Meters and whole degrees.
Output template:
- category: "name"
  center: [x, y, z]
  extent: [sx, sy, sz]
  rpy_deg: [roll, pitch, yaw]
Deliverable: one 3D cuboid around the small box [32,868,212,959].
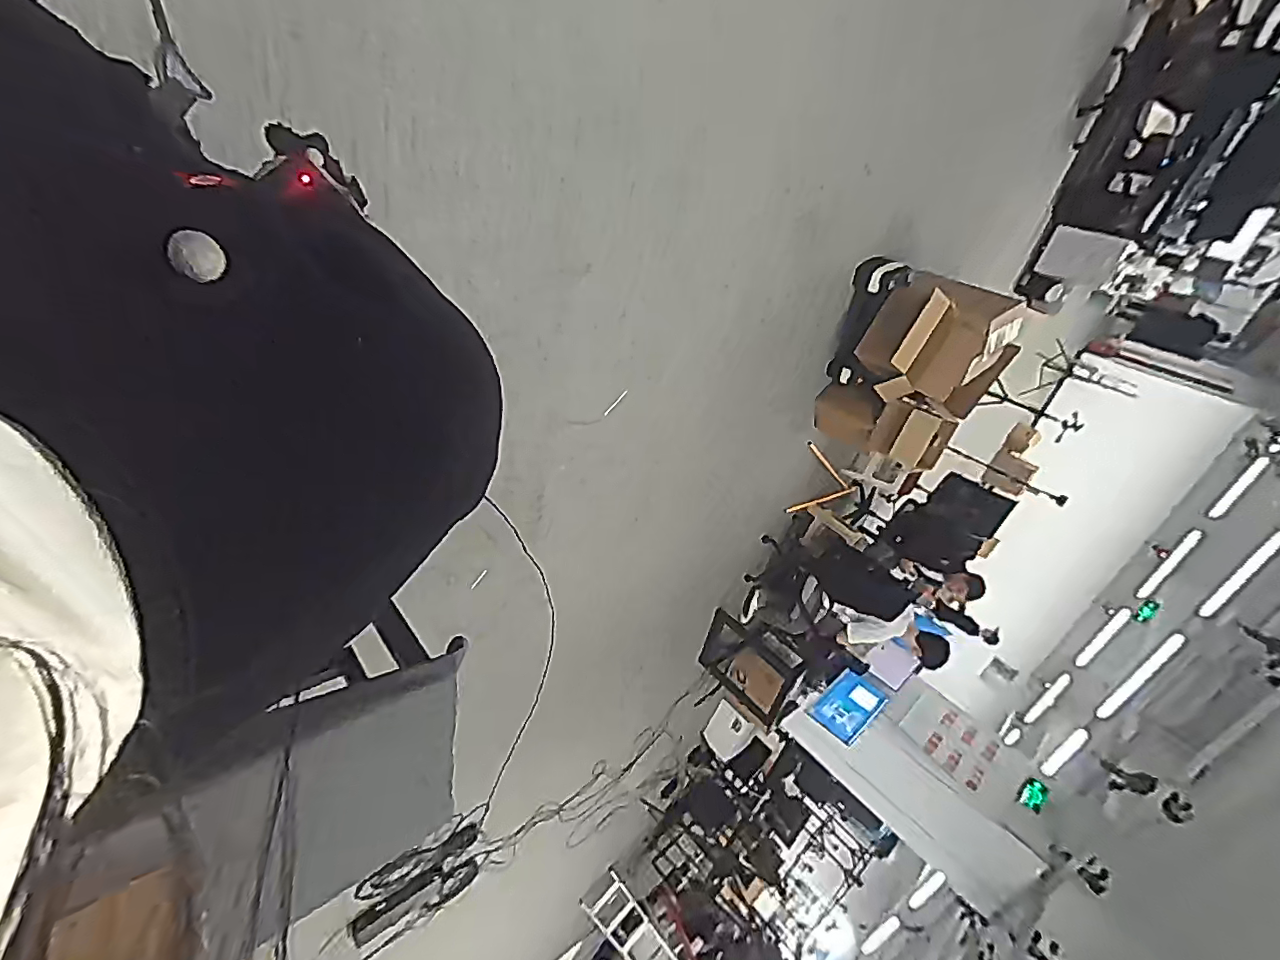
- category: "small box"
  center: [-0.784, 0.756, 0.832]
  extent: [0.179, 0.176, 0.168]
  rpy_deg: [-17, 131, -40]
